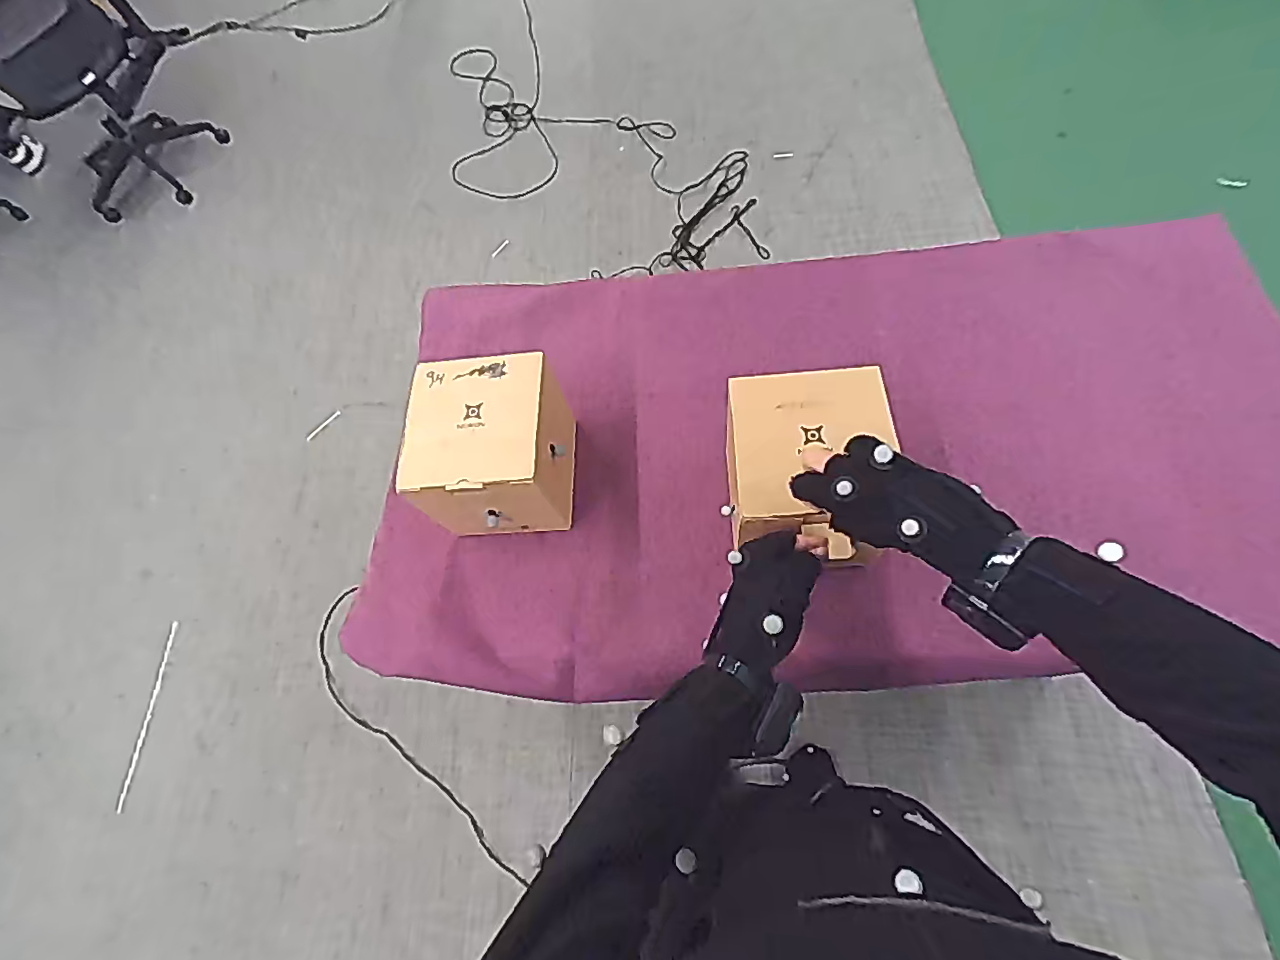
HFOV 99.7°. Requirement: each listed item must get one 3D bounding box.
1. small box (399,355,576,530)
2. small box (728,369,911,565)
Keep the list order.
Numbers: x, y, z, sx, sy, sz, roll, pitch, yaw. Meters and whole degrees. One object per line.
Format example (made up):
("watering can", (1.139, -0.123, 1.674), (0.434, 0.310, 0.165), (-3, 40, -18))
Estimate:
("small box", (-0.183, -0.037, 0.707), (0.168, 0.176, 0.179), (-4, 66, 7))
("small box", (0.192, -0.004, 0.632), (0.168, 0.176, 0.179), (-3, 62, 7))
